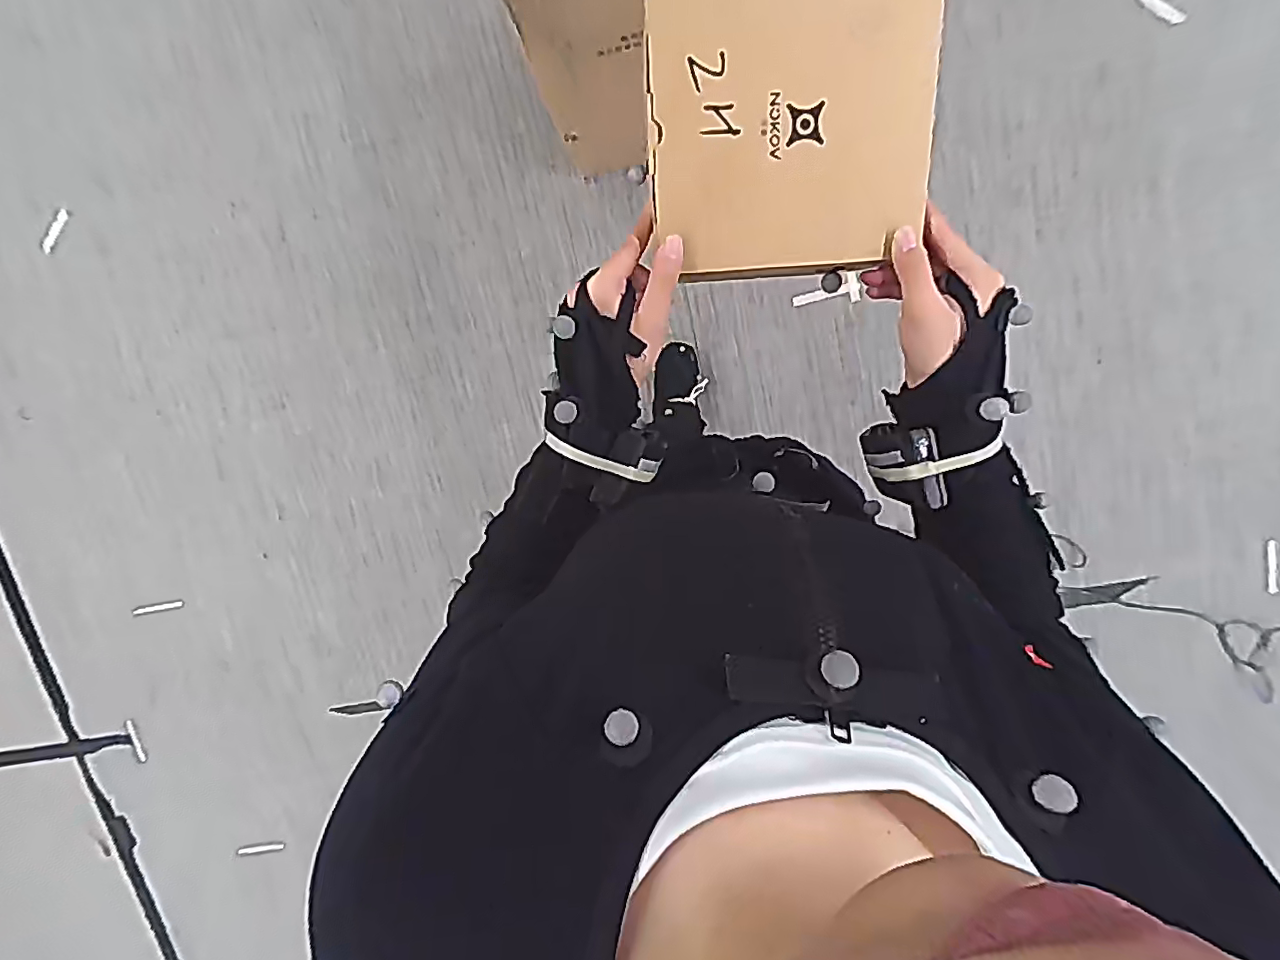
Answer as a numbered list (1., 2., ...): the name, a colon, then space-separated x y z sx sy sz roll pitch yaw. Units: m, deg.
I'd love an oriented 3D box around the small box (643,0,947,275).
1. small box: 0.093 -0.248 0.404 0.179 0.176 0.168 -3 107 2
